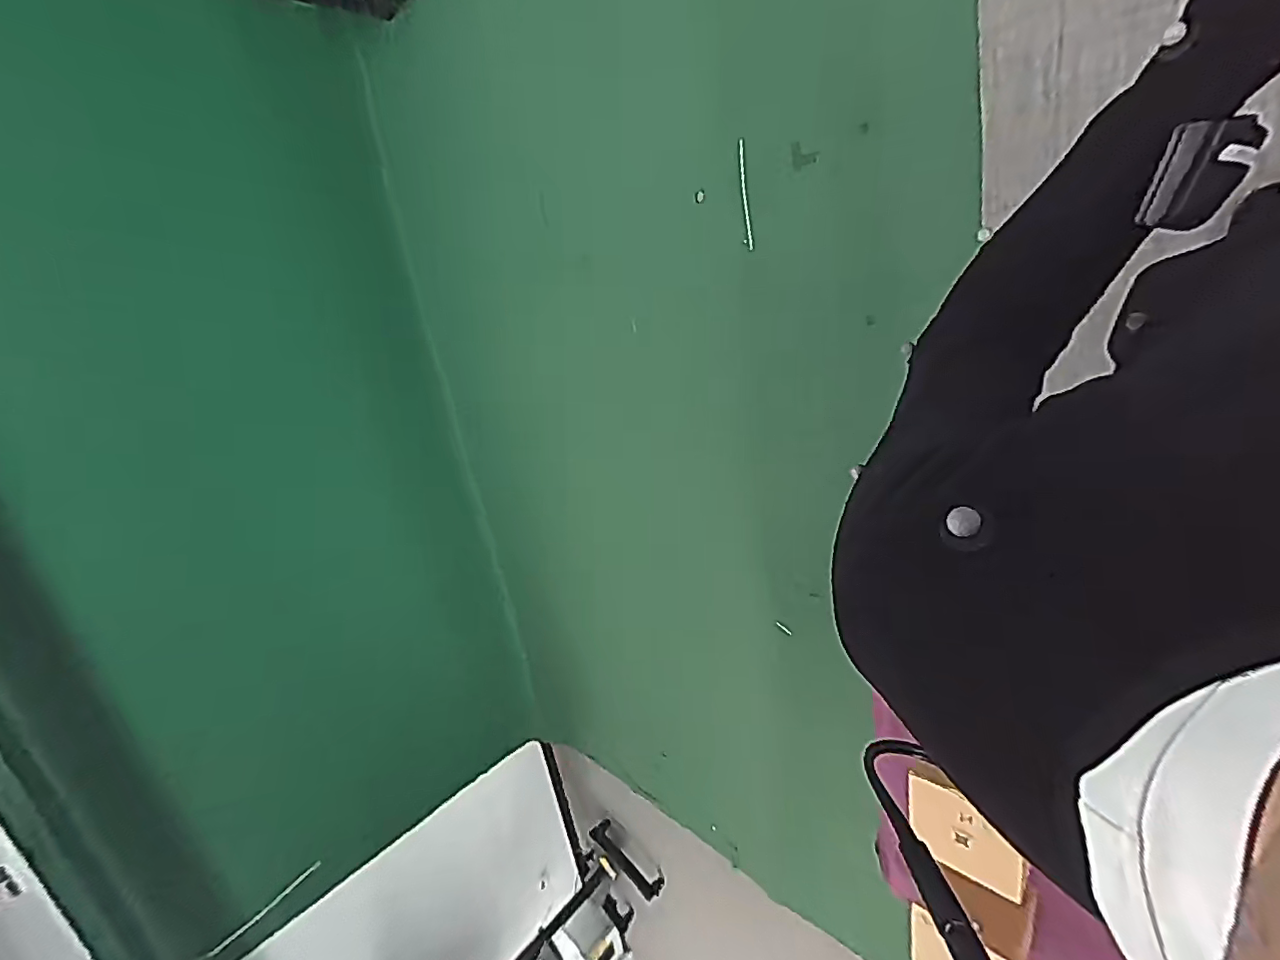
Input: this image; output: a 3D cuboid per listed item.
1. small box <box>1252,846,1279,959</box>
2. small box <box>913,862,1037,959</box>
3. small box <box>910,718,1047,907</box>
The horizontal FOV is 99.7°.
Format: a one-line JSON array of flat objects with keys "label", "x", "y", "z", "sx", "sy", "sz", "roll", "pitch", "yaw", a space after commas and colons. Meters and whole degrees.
[{"label": "small box", "x": 0.861, "y": 0.601, "z": 0.645, "sx": 0.168, "sy": 0.176, "sz": 0.179, "roll": 3, "pitch": 111, "yaw": 47}, {"label": "small box", "x": 0.632, "y": 0.852, "z": 1.021, "sx": 0.168, "sy": 0.176, "sz": 0.179, "roll": 9, "pitch": 115, "yaw": 44}, {"label": "small box", "x": 0.578, "y": 0.554, "z": 0.925, "sx": 0.168, "sy": 0.176, "sz": 0.179, "roll": 8, "pitch": 115, "yaw": 44}]
